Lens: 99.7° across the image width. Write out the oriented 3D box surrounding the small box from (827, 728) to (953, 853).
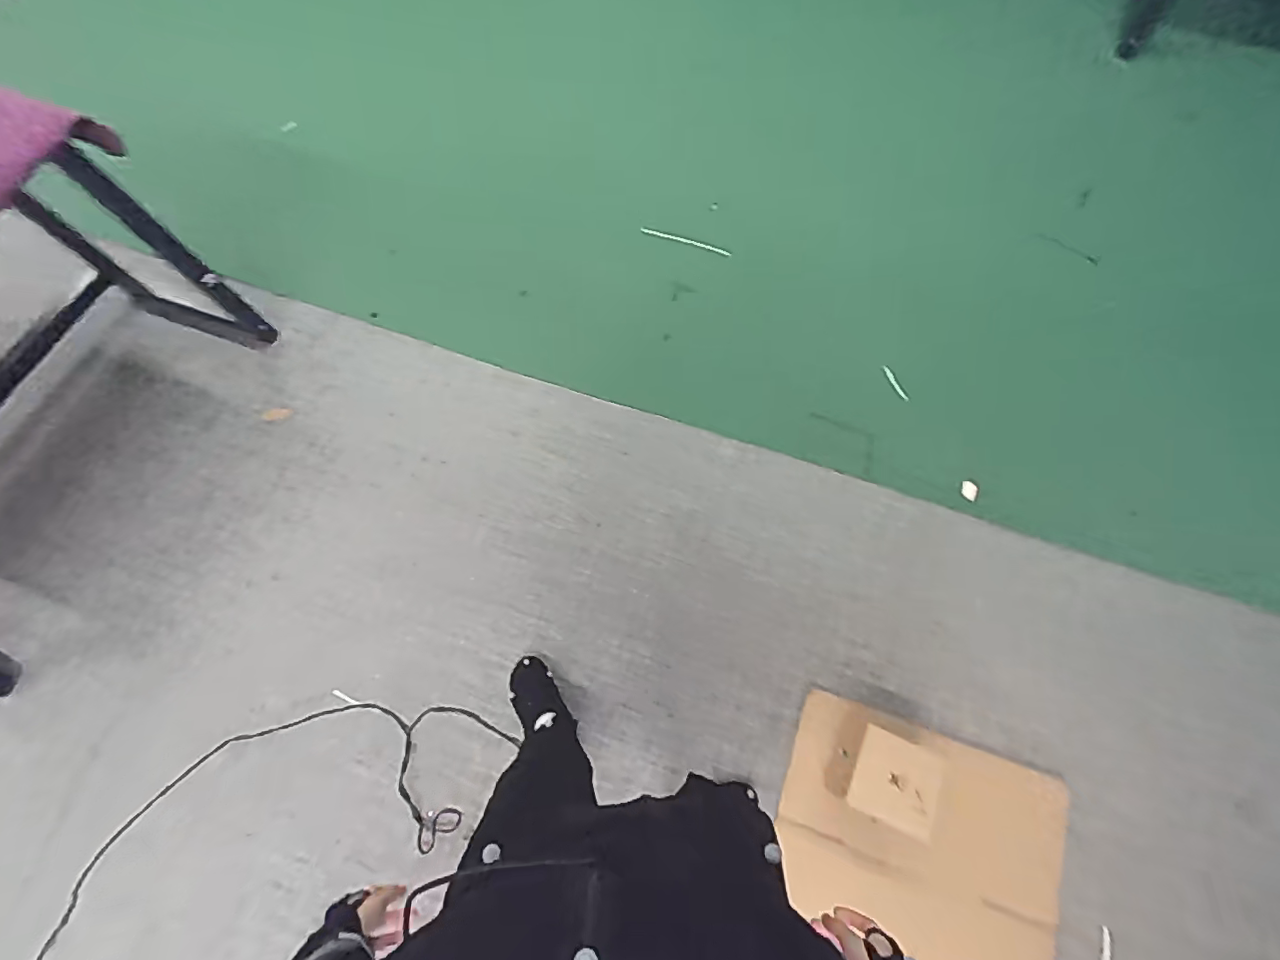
[{"bbox_3d":[0.526,0.651,1.161,0.179,0.176,0.168,24,72,11],"label":"small box"}]
